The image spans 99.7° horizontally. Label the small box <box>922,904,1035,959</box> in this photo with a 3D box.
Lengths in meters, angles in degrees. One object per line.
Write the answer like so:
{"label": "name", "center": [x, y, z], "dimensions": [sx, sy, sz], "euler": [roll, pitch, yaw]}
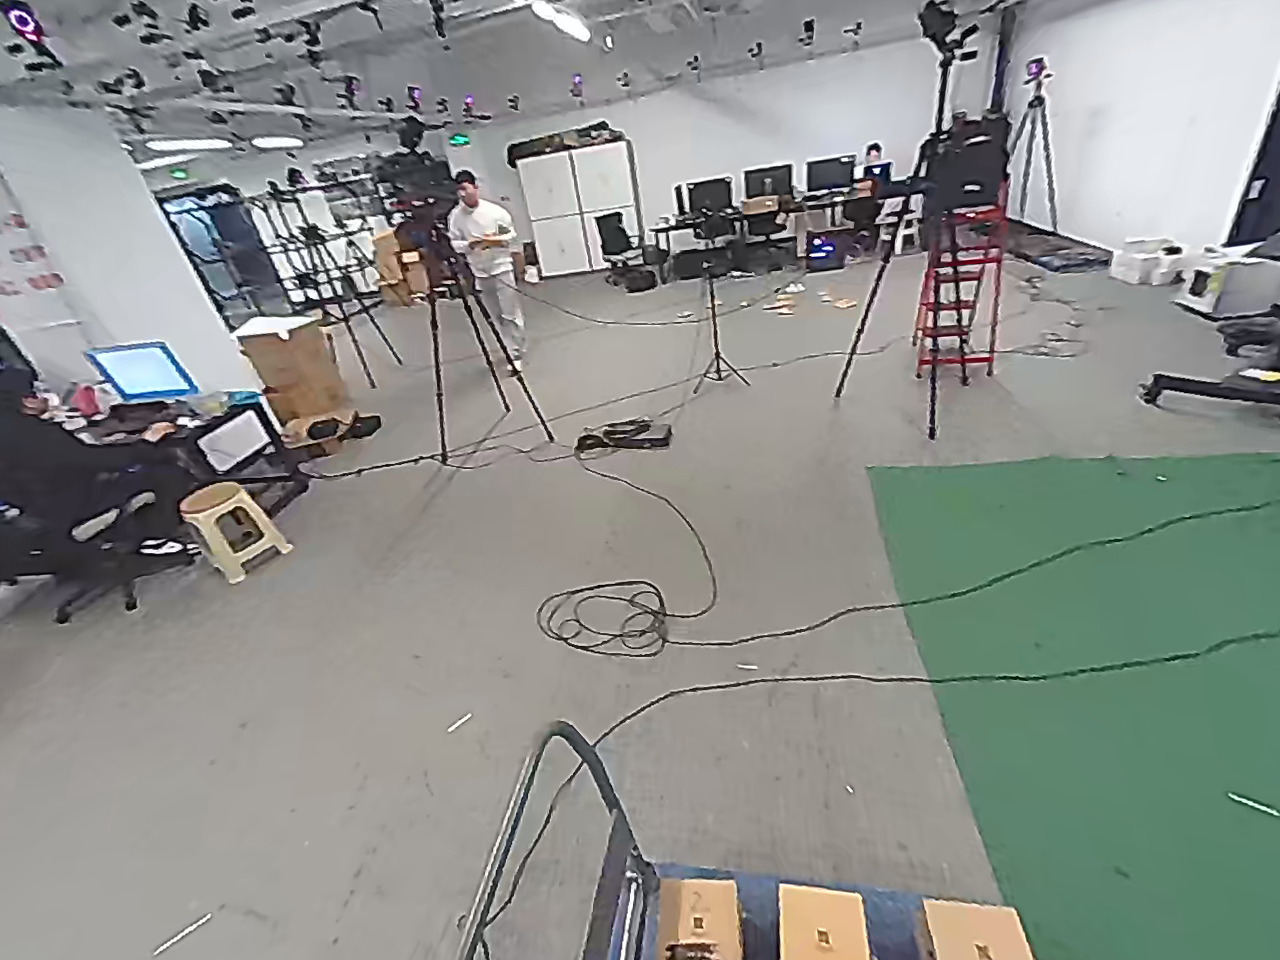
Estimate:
{"label": "small box", "center": [0.648, 0.953, 1.025], "dimensions": [0.168, 0.176, 0.179], "euler": [-4, 31, 14]}

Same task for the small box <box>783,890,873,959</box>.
{"label": "small box", "center": [0.376, 0.973, 1.087], "dimensions": [0.168, 0.176, 0.179], "euler": [-3, 33, 13]}
